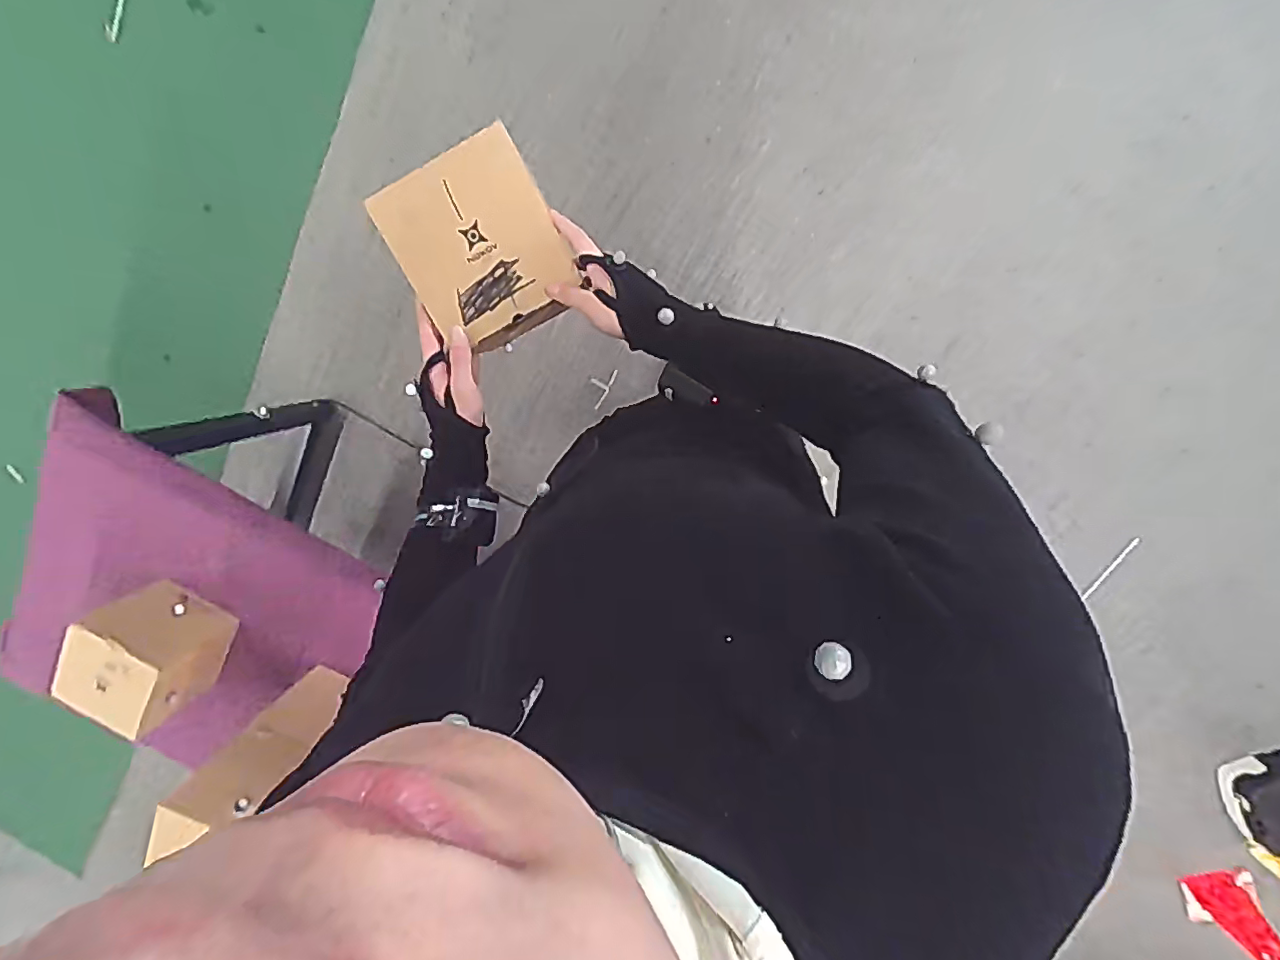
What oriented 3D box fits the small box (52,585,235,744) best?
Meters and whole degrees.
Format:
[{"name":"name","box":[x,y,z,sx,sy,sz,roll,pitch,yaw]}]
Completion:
[{"name":"small box","box":[-0.896,0.328,0.990,0.168,0.176,0.179,31,106,-3]}]

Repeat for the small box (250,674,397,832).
[{"name":"small box","box":[-0.591,0.491,1.000,0.179,0.176,0.168,25,106,0]}]

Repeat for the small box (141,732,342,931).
[{"name":"small box","box":[-0.606,0.534,0.842,0.179,0.176,0.168,25,105,-1]}]

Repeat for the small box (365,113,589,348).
[{"name":"small box","box":[-0.169,-0.272,0.632,0.168,0.176,0.179,-27,104,5]}]
